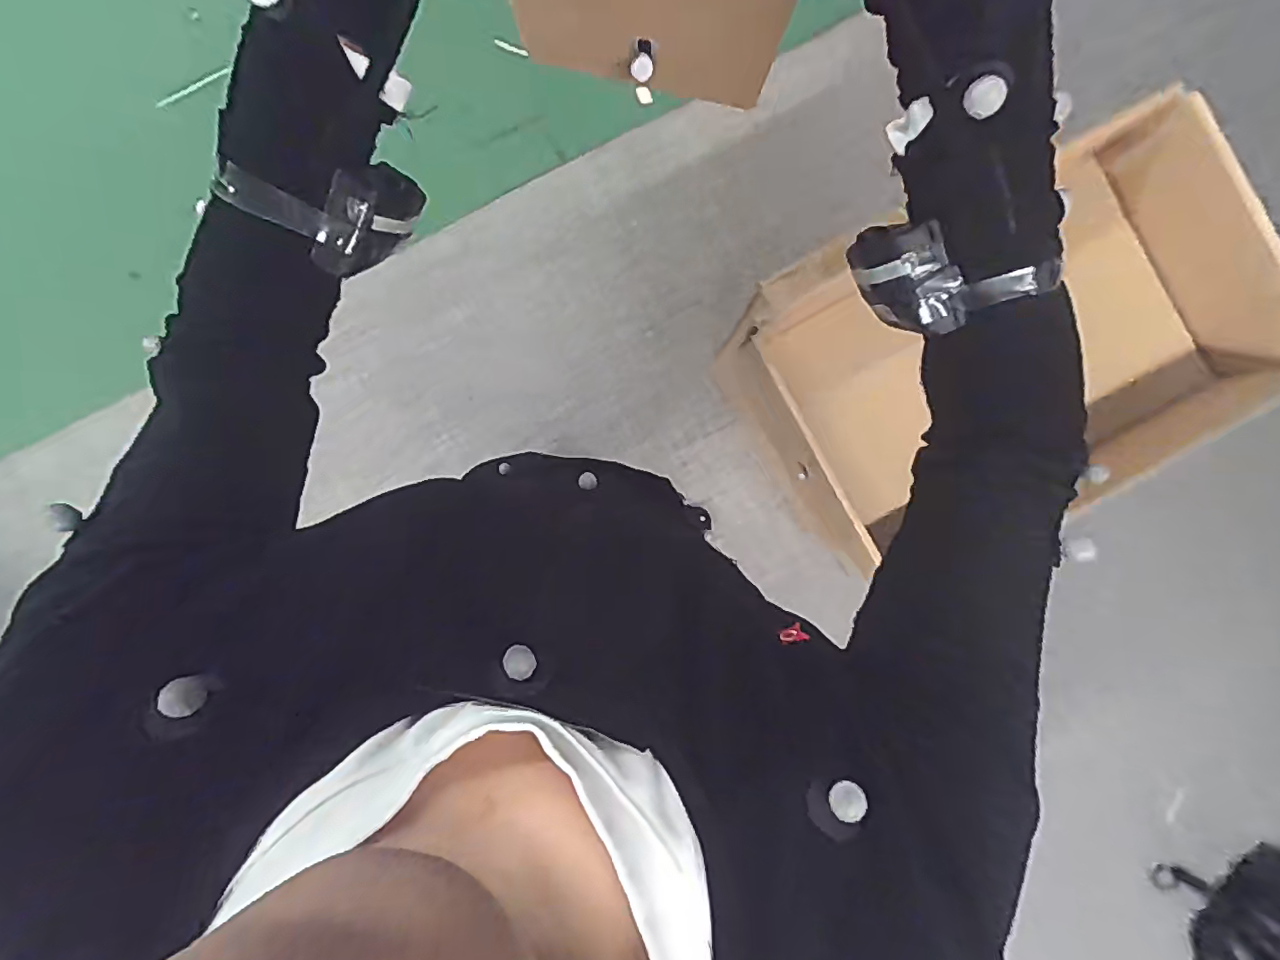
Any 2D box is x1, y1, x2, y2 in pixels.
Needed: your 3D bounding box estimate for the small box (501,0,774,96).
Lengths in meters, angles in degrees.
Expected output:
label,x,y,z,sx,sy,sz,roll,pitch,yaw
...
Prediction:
label,x,y,z,sx,sy,sz,roll,pitch,yaw
small box,0.009,-0.368,0.317,0.179,0.176,0.168,10,95,-2
